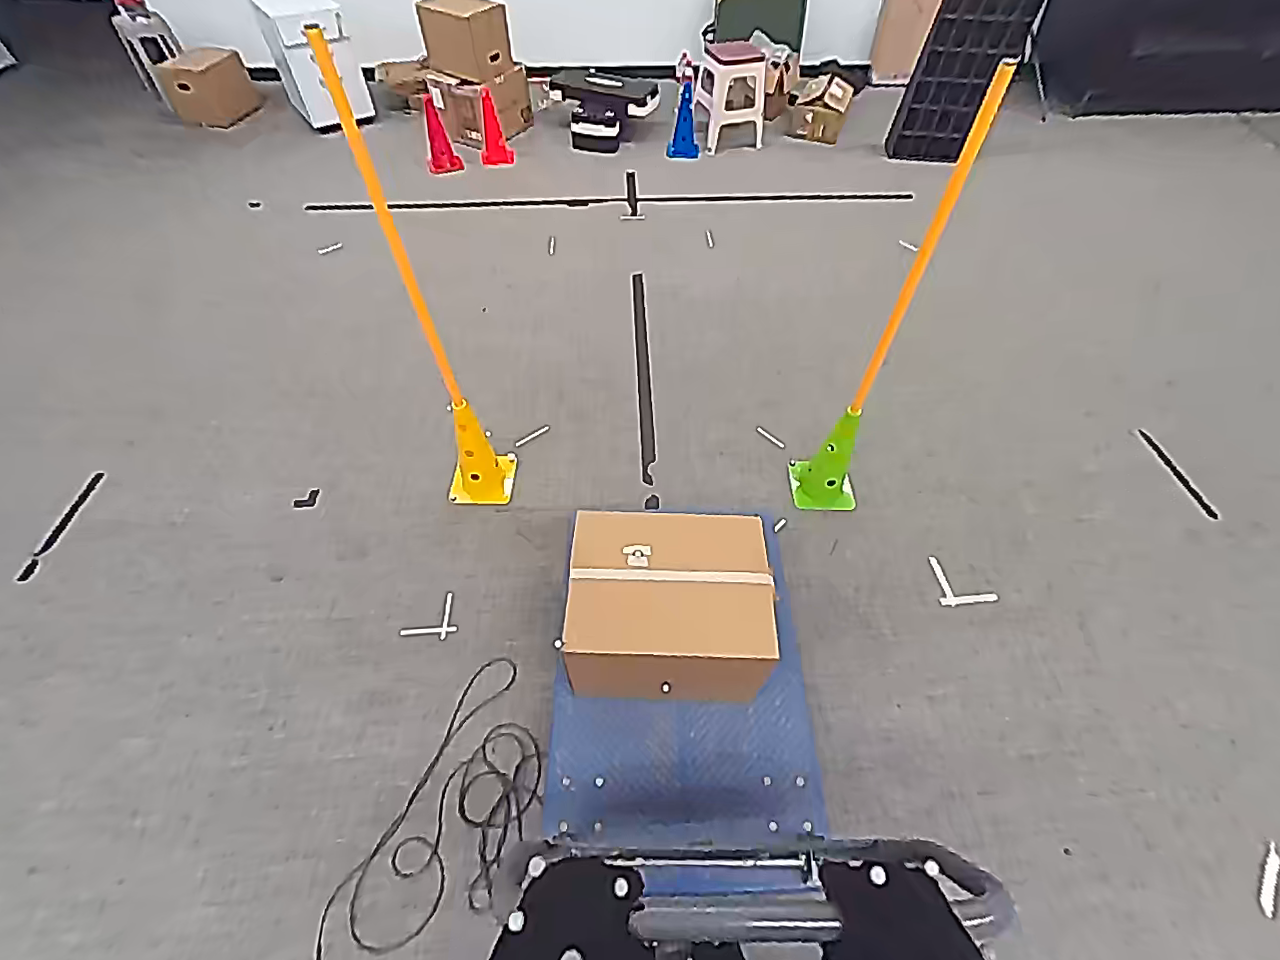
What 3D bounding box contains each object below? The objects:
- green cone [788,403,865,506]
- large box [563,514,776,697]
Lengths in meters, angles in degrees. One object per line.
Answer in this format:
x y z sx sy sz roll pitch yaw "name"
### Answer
0.615 -0.098 1.689 0.202 0.368 0.200 2 53 -1 "green cone"
0.058 0.287 1.208 0.408 0.320 0.320 1 53 1 "large box"
